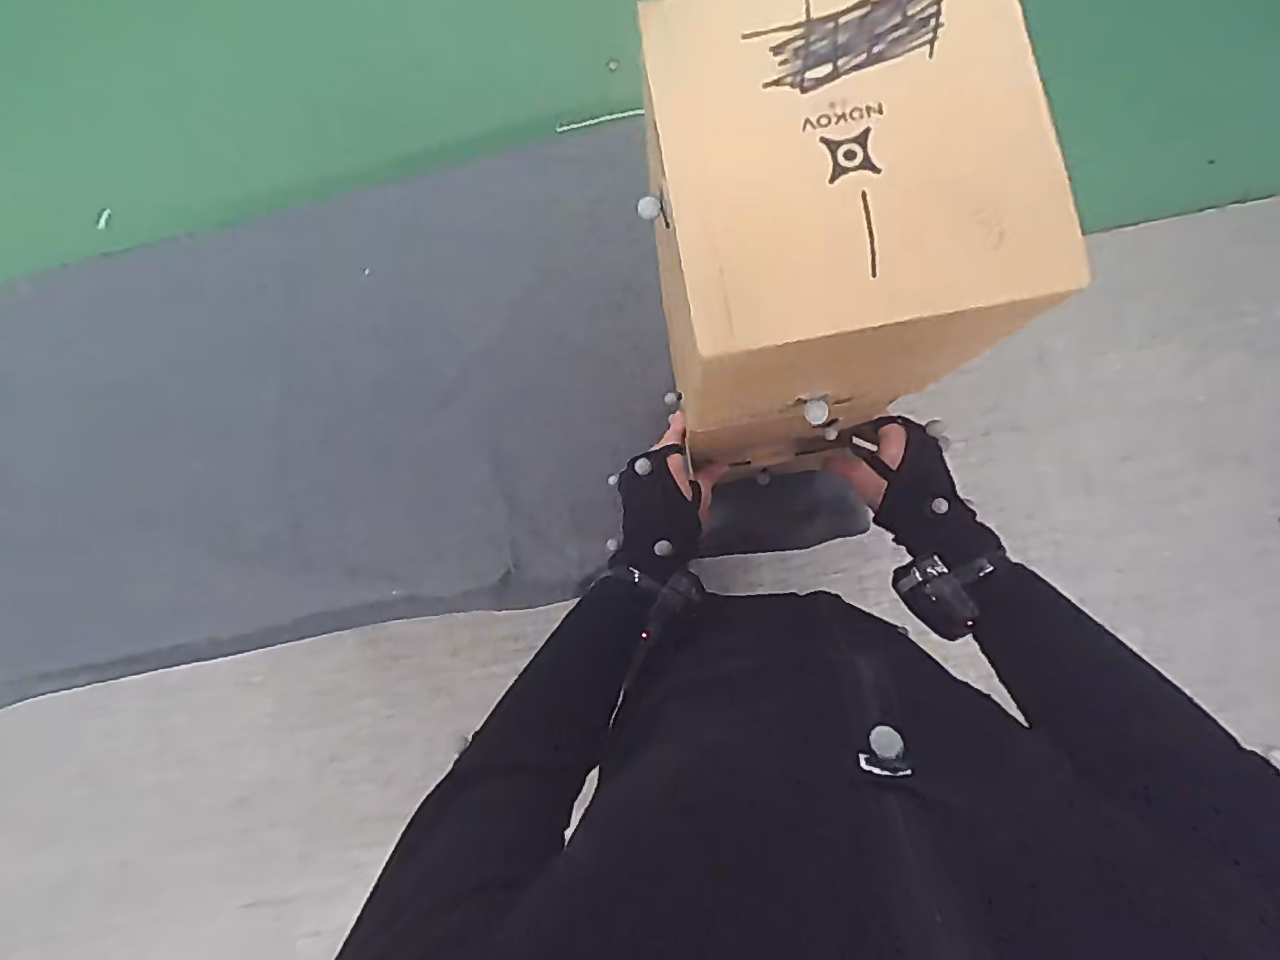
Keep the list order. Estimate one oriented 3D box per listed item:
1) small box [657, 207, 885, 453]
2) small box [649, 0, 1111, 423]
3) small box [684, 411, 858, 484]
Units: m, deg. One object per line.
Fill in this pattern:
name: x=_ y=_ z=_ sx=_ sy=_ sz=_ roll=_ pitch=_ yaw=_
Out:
small box: x=0.114 y=-0.127 z=0.472 sx=0.168 sy=0.176 sz=0.179 roll=-10 pitch=80 yaw=4
small box: x=0.100 y=-0.146 z=0.309 sx=0.168 sy=0.176 sz=0.179 roll=-10 pitch=82 yaw=4
small box: x=0.135 y=-0.093 z=0.630 sx=0.168 sy=0.176 sz=0.179 roll=-10 pitch=82 yaw=5
